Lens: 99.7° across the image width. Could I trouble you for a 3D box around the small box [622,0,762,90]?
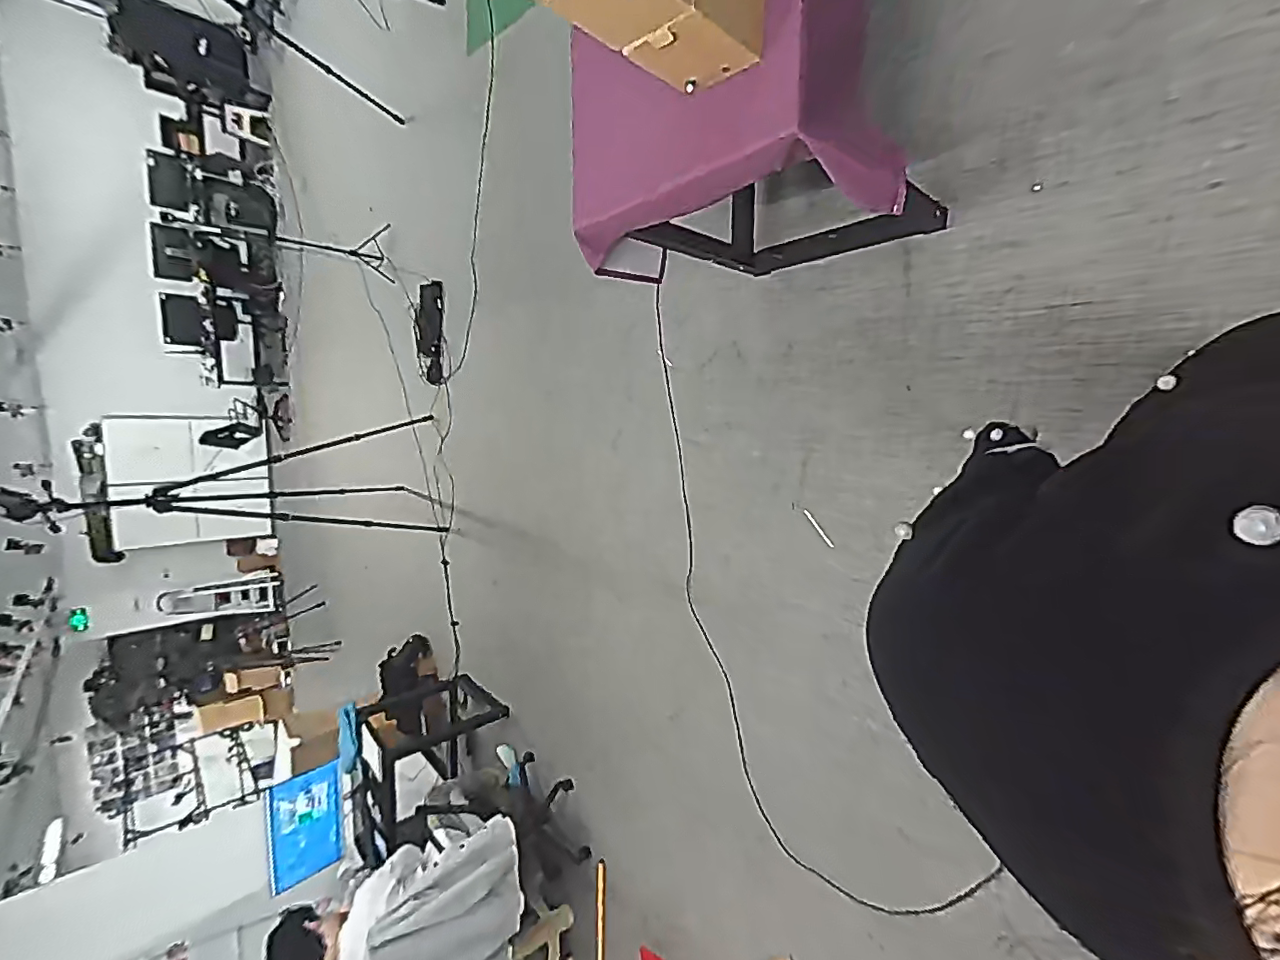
[{"bbox_3d":[0.088,-0.781,0.888,0.168,0.176,0.179,12,102,46],"label":"small box"}]
